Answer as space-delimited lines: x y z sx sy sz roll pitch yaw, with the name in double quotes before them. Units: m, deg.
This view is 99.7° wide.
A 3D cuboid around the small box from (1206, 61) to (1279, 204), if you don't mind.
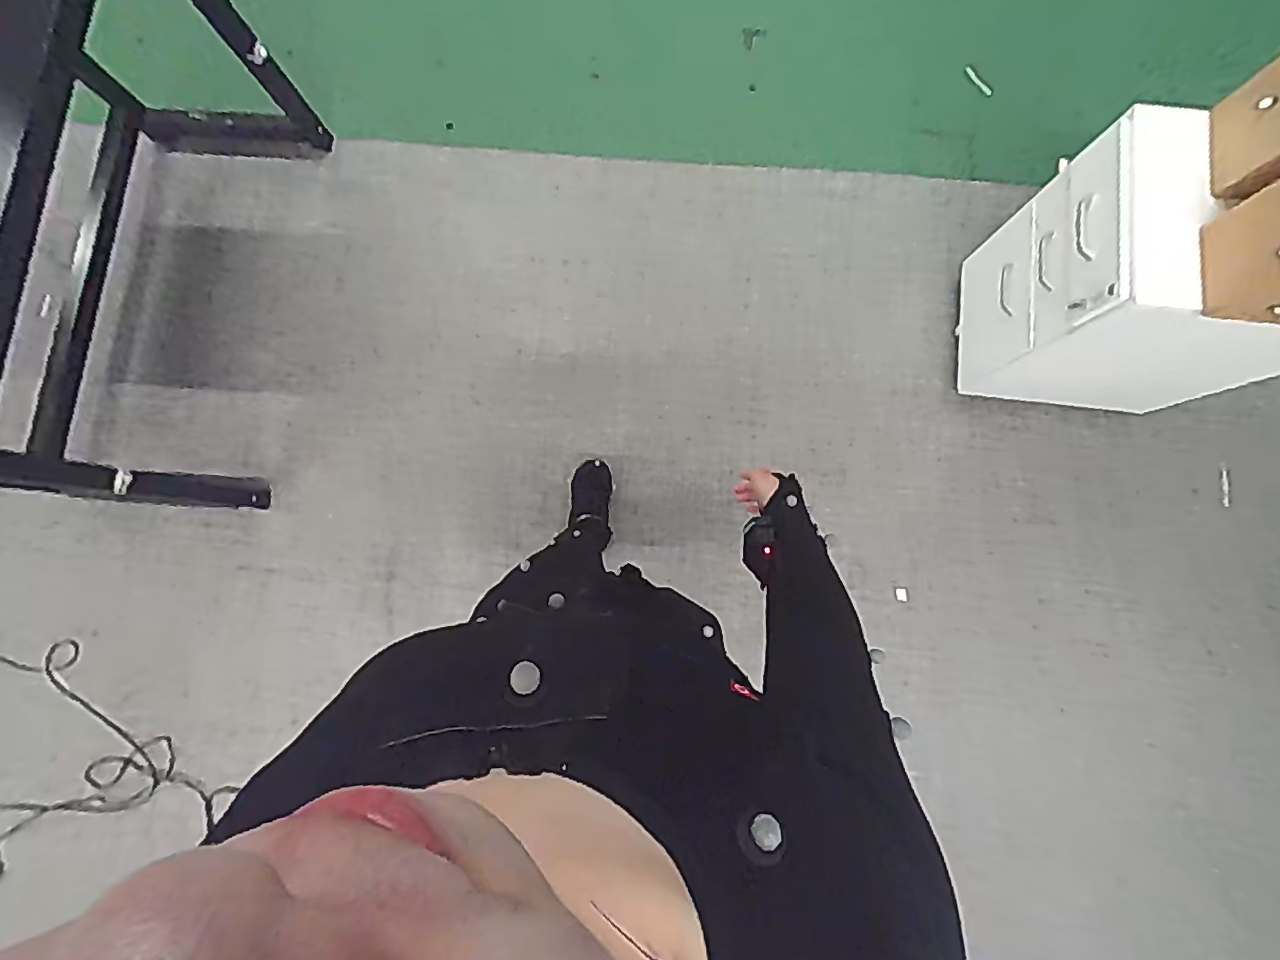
"small box" 1.116 -0.601 0.908 0.168 0.176 0.179 6 84 1
